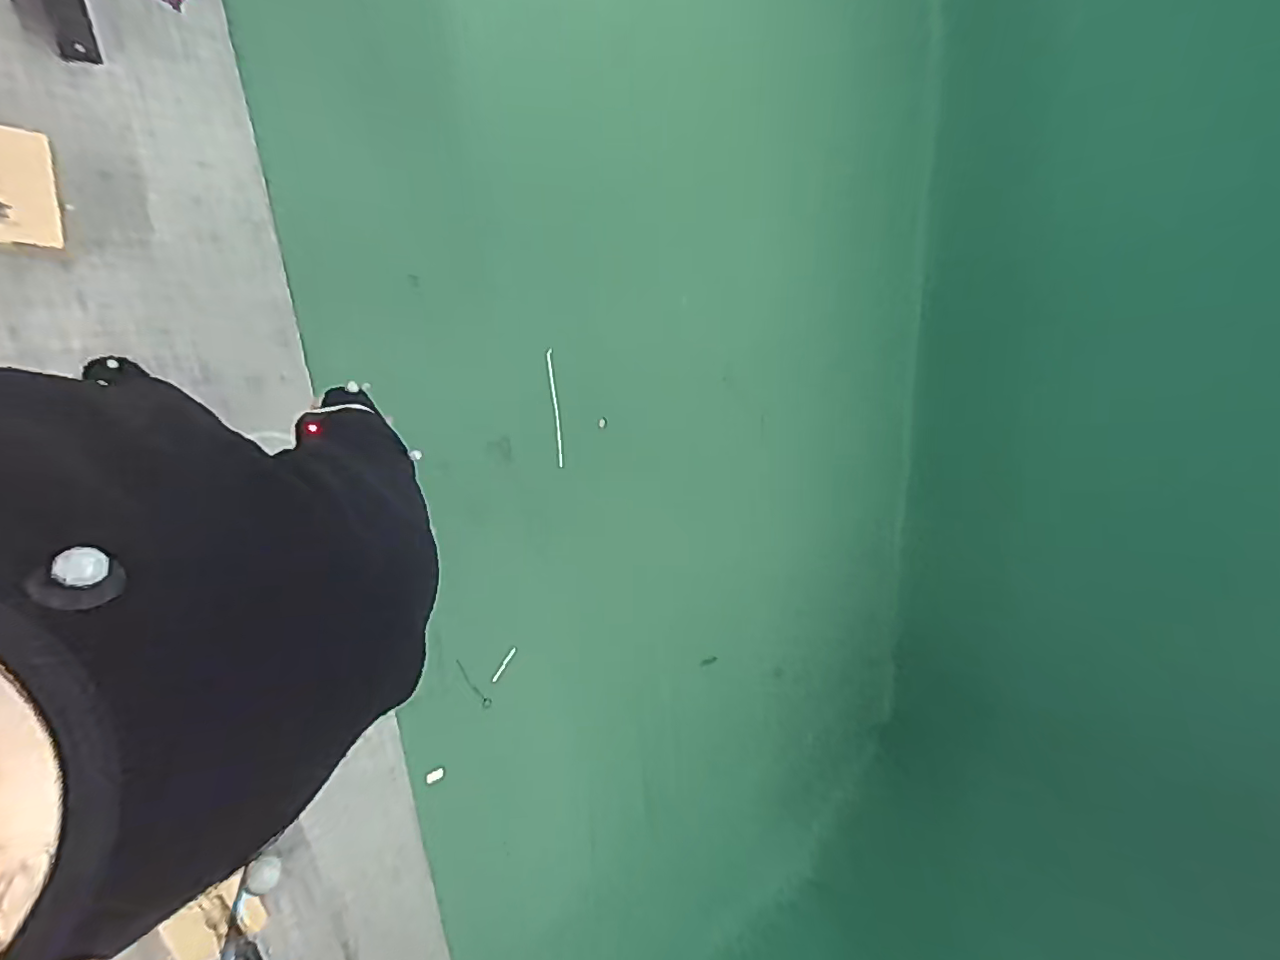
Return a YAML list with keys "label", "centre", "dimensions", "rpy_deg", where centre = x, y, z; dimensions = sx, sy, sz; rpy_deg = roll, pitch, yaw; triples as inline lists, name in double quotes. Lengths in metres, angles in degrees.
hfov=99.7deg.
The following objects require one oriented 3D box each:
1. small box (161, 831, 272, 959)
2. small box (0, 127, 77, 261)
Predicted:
- label: "small box"
  centre: [-0.994, 0.972, 1.272]
  dimensions: [0.168, 0.176, 0.179]
  rpy_deg: [-19, 112, -35]
- label: "small box"
  centre: [-1.071, -0.474, 0.895]
  dimensions: [0.168, 0.176, 0.179]
  rpy_deg: [-7, 103, -39]
